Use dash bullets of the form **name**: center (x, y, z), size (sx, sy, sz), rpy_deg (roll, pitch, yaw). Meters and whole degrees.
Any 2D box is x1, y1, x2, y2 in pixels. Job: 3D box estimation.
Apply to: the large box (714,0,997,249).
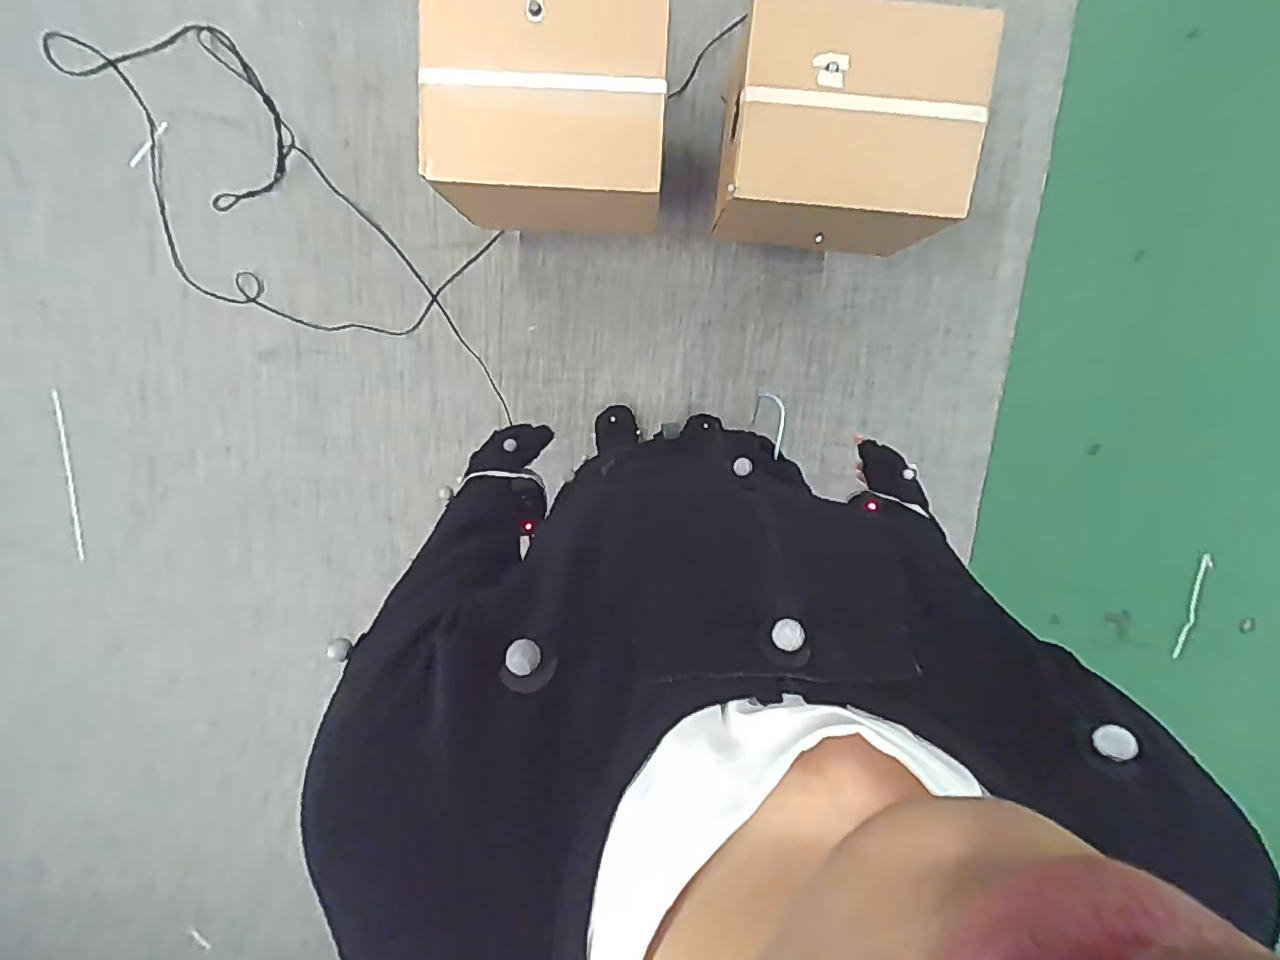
- **large box**: center (0.375, -0.652, 1.050), size (0.408, 0.320, 0.320), rpy_deg (5, 101, 0)
